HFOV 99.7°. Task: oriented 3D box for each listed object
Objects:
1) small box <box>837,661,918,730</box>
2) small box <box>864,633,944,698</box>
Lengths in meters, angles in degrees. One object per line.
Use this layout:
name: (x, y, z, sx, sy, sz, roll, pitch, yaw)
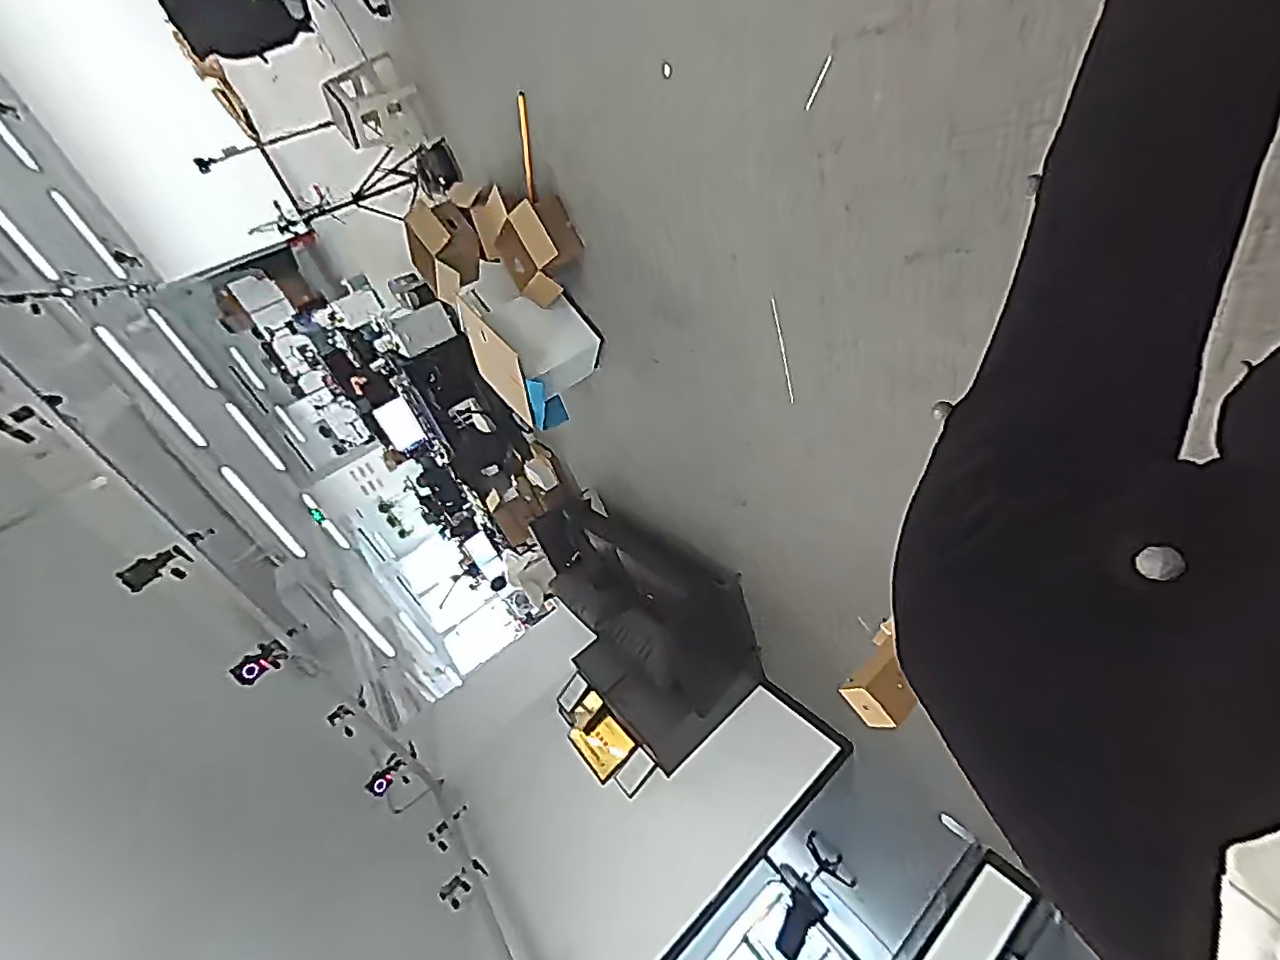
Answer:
small box: (0.865, 0.783, 1.969, 0.168, 0.176, 0.179, 50, 156, 11)
small box: (0.993, 0.697, 2.030, 0.168, 0.176, 0.179, 50, 158, 11)
